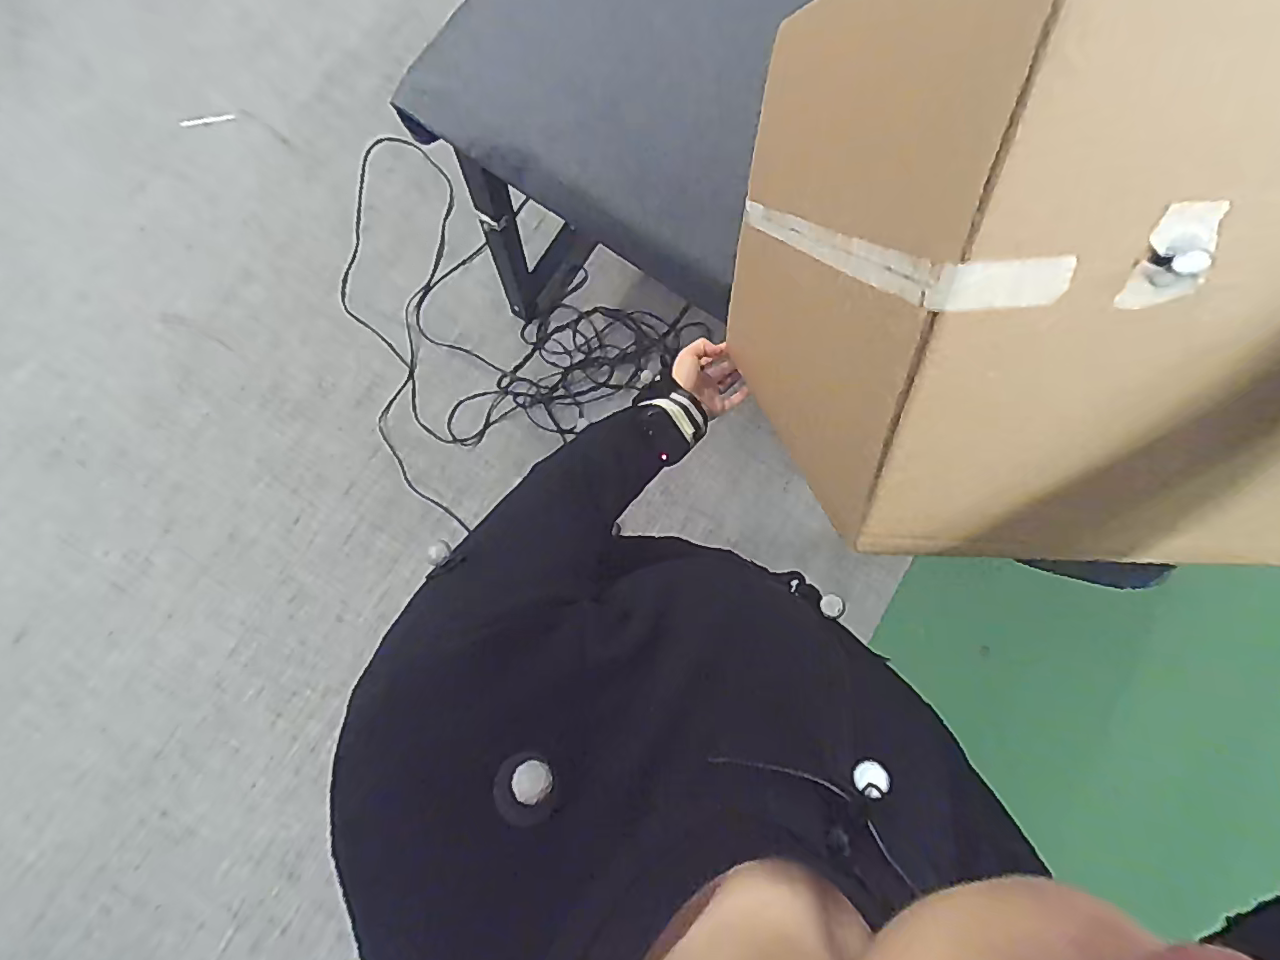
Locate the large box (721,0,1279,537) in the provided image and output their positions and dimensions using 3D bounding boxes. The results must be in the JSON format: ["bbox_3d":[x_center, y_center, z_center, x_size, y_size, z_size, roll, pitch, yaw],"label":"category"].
[{"bbox_3d":[0.272,-0.197,0.424,0.320,0.408,0.320,1,122,-6],"label":"large box"}]
